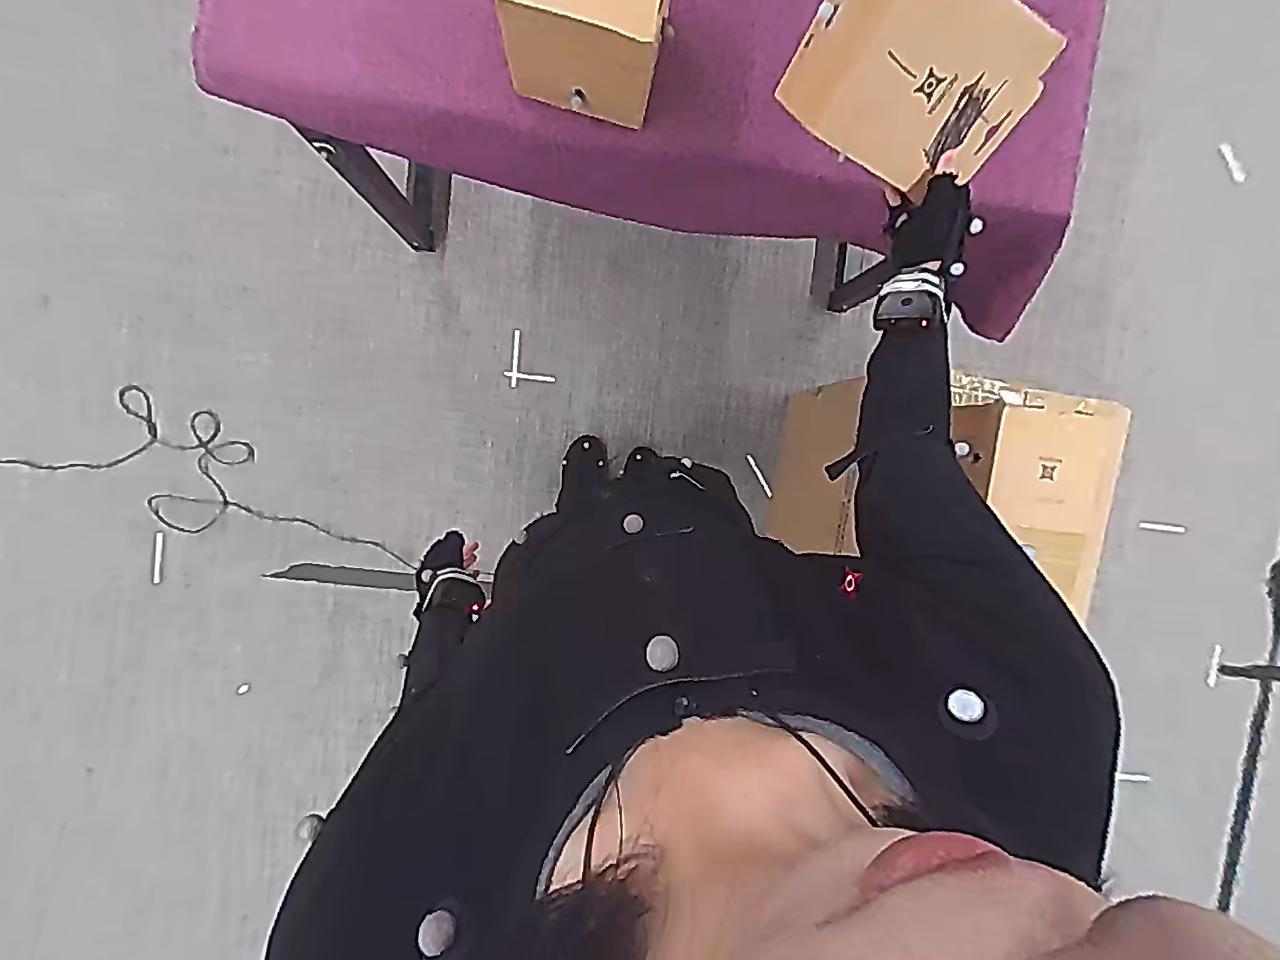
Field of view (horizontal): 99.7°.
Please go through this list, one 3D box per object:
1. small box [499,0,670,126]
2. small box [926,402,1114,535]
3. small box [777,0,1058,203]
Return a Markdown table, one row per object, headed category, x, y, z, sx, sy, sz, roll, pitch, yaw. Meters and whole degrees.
| category | x | y | z | sx | sy | sz | roll | pitch | yaw |
| --- | --- | --- | --- | --- | --- | --- | --- | --- | --- |
| small box | -0.056 | -0.572 | 0.655 | 0.179 | 0.176 | 0.168 | 13 | 92 | -7 |
| small box | 0.579 | -0.021 | 0.848 | 0.168 | 0.176 | 0.179 | 6 | 95 | -2 |
| small box | 0.278 | -0.441 | 0.582 | 0.179 | 0.176 | 0.168 | 16 | 131 | -20 |
